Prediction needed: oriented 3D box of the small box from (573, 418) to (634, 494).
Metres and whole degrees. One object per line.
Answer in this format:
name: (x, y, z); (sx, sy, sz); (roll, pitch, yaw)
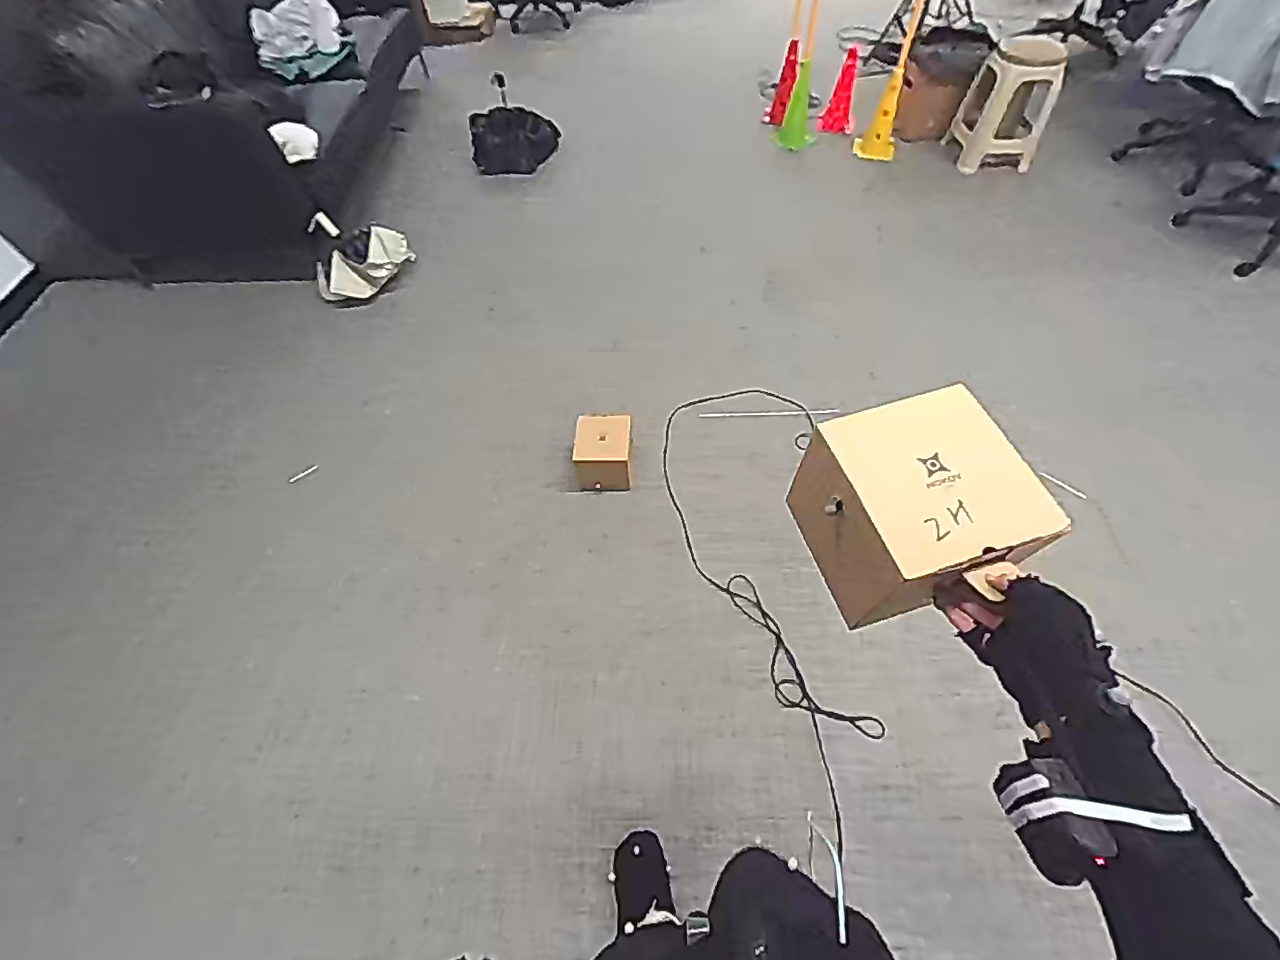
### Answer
small box: (-0.107, -0.074, 1.688); (0.168, 0.176, 0.179); (1, 57, 4)

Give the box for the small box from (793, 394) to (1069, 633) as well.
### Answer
small box: (0.283, 0.042, 0.579); (0.168, 0.176, 0.179); (-15, 61, -5)
